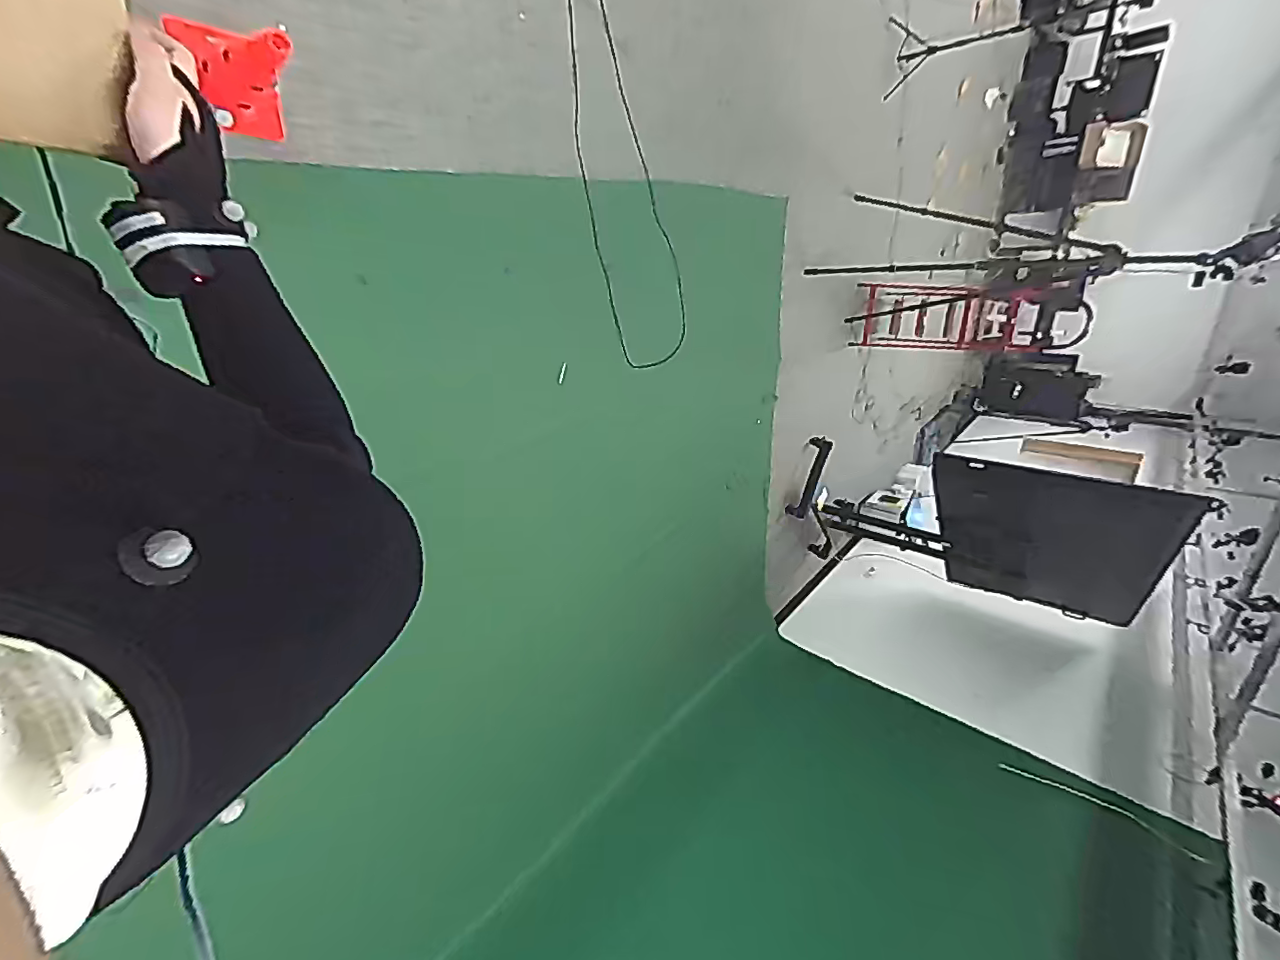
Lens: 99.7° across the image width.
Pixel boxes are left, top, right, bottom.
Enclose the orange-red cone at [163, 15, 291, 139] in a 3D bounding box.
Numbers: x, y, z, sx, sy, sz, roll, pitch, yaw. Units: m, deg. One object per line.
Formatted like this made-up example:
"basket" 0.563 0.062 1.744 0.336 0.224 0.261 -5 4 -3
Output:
"orange-red cone" -0.801 -0.853 1.110 0.199 0.360 0.198 -19 119 -47
